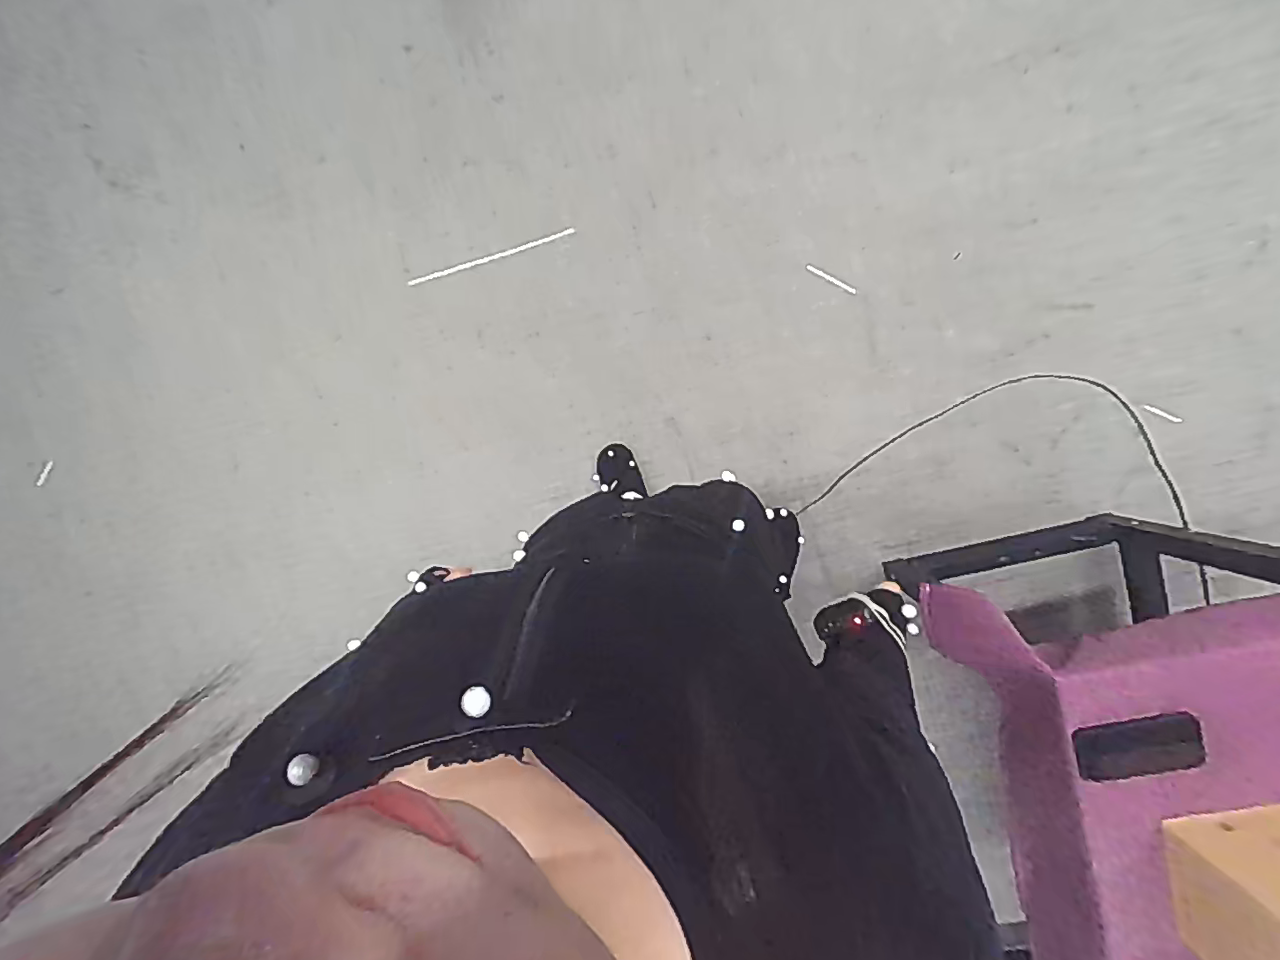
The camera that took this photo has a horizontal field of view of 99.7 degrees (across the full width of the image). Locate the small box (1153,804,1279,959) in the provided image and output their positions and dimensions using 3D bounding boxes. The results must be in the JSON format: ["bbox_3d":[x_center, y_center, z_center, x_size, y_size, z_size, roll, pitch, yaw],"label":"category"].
[{"bbox_3d":[0.790,0.531,0.666,0.168,0.176,0.179,-12,95,6],"label":"small box"}]
